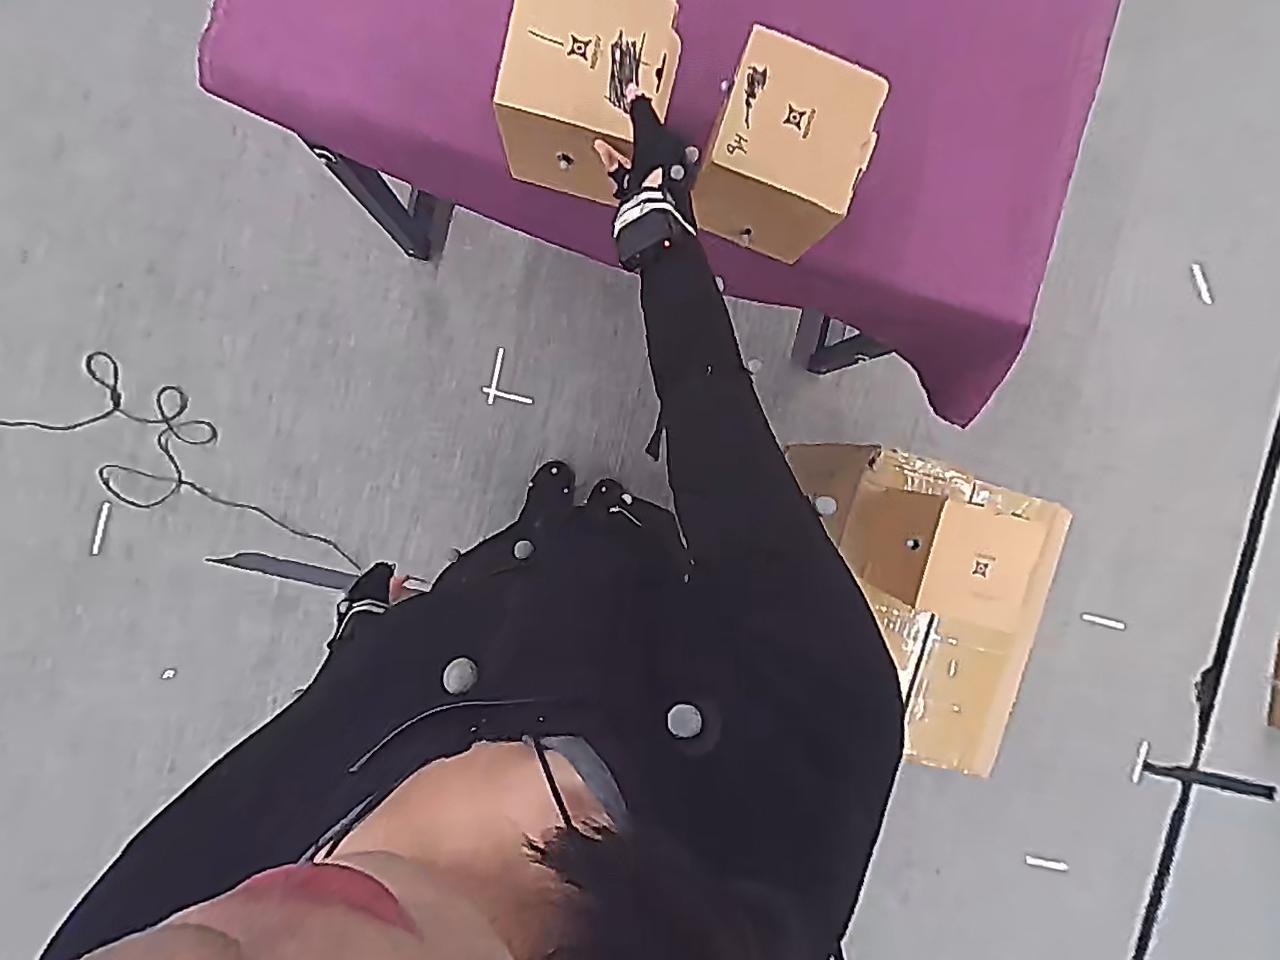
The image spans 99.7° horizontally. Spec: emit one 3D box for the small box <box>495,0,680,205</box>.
[{"bbox_3d":[-0.064,-0.475,0.677,0.179,0.176,0.168,13,90,-5],"label":"small box"}]

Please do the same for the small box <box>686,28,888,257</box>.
[{"bbox_3d":[0.178,-0.417,0.707,0.179,0.176,0.168,19,90,-7],"label":"small box"}]

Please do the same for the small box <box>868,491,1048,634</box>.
[{"bbox_3d":[0.497,0.121,0.871,0.168,0.176,0.179,14,93,-4],"label":"small box"}]
